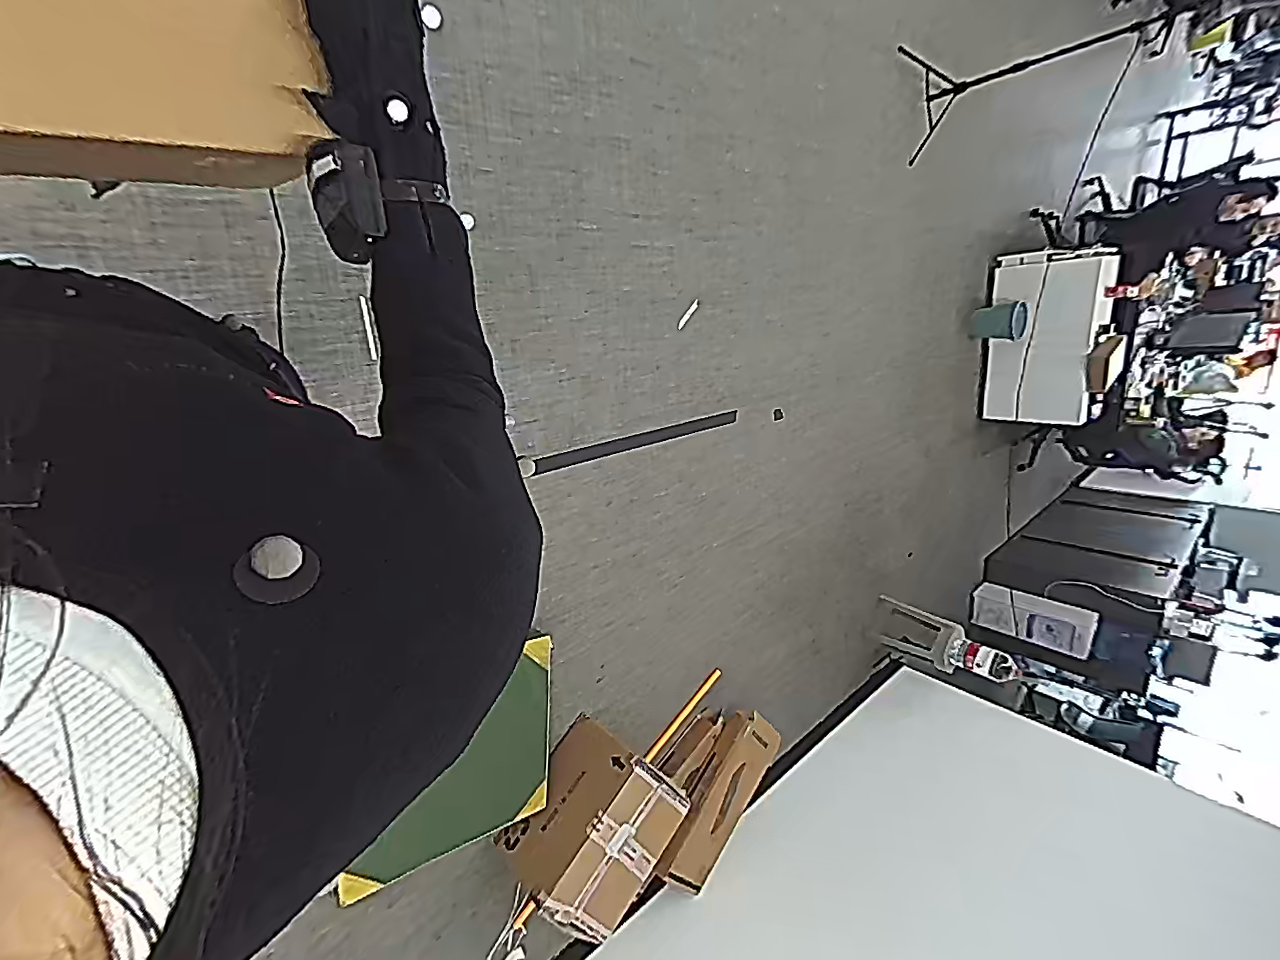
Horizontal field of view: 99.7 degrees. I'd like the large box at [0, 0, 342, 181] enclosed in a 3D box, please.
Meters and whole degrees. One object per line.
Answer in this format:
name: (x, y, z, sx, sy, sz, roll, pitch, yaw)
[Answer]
large box: (-0.463, -0.368, 0.315, 0.408, 0.320, 0.320, -19, 121, -37)
